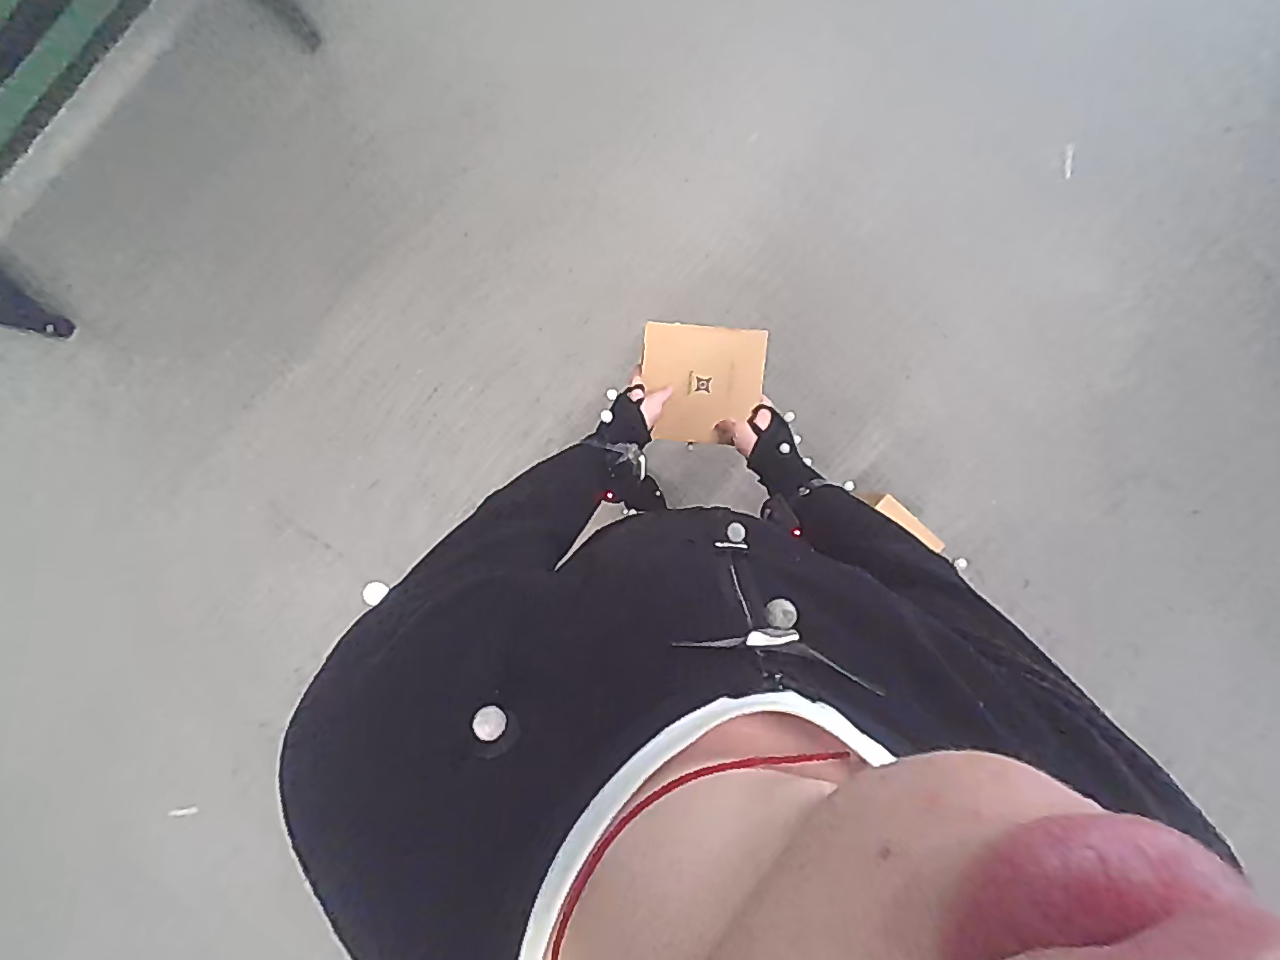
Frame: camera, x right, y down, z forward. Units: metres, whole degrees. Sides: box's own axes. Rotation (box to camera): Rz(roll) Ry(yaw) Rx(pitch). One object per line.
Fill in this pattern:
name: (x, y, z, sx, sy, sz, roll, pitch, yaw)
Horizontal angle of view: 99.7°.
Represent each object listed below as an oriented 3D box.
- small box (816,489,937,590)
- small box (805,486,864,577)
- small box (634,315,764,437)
small box: (0.563, 0.133, 1.310, 0.179, 0.176, 0.168, 43, 92, 0)
small box: (0.573, 0.133, 1.475, 0.168, 0.176, 0.179, 44, 92, -1)
small box: (0.087, -0.157, 0.850, 0.179, 0.176, 0.168, 4, 97, 2)
